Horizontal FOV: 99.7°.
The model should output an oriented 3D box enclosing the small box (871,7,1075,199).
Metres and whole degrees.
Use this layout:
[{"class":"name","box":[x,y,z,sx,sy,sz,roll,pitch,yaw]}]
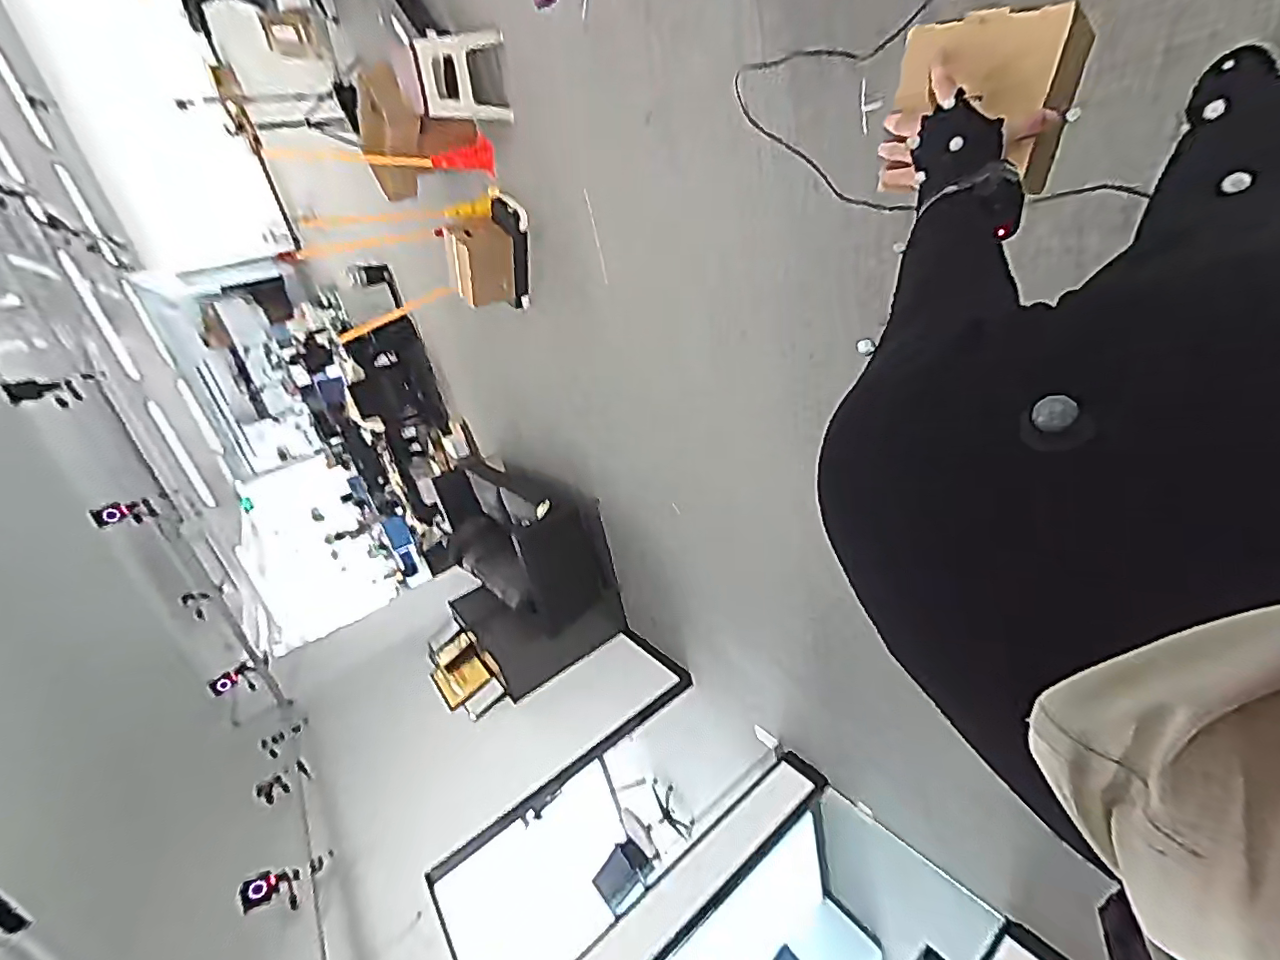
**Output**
[{"class":"small box","box":[0.426,-0.464,0.694,0.168,0.176,0.179,24,126,36]}]
